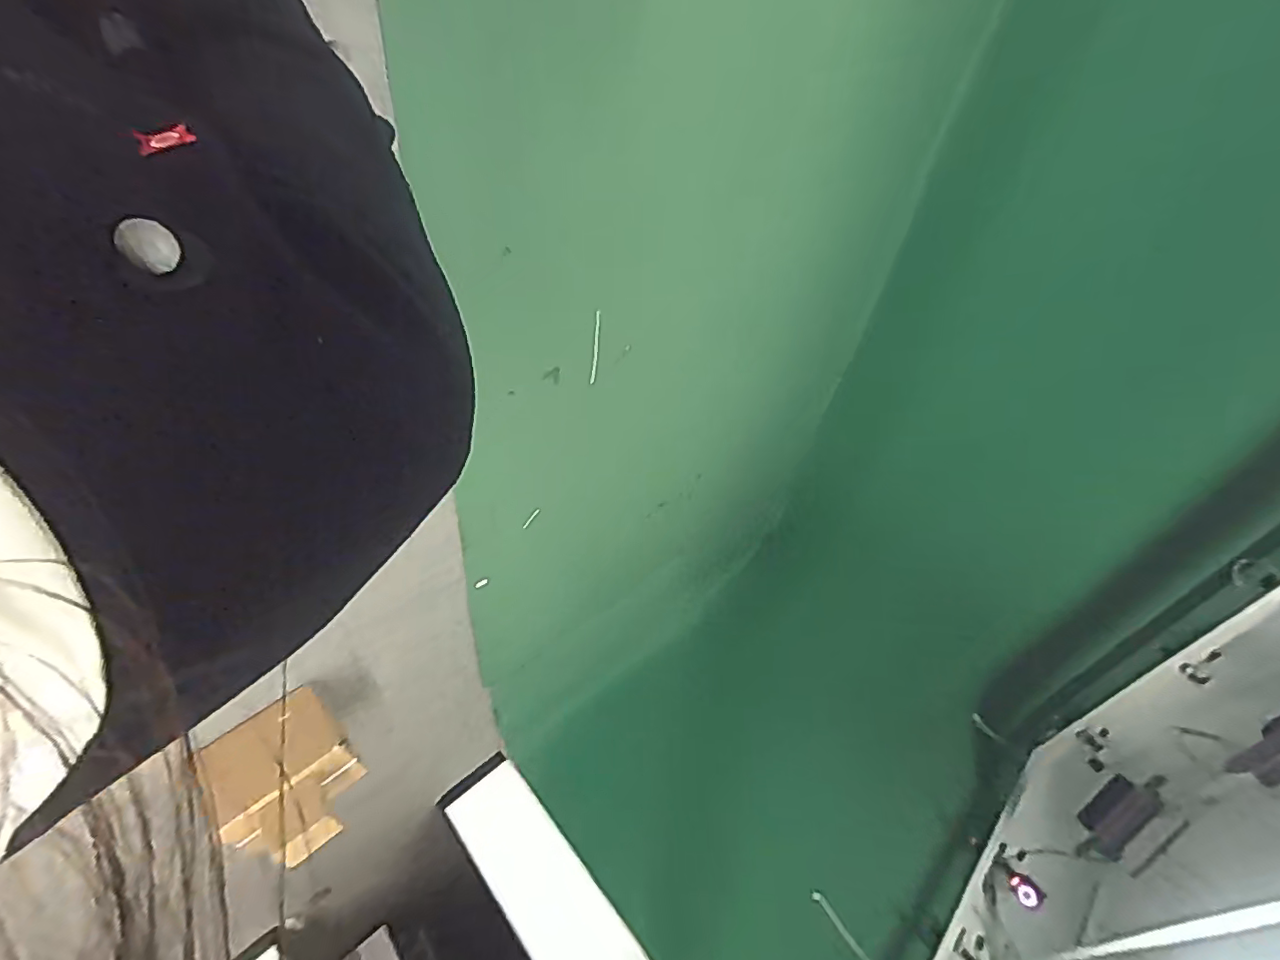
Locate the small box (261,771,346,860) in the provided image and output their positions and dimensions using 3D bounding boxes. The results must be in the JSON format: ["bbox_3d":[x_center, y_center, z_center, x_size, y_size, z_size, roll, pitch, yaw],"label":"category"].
[{"bbox_3d":[-1.143,1.135,1.837,0.179,0.176,0.168,-31,144,-30],"label":"small box"}]
